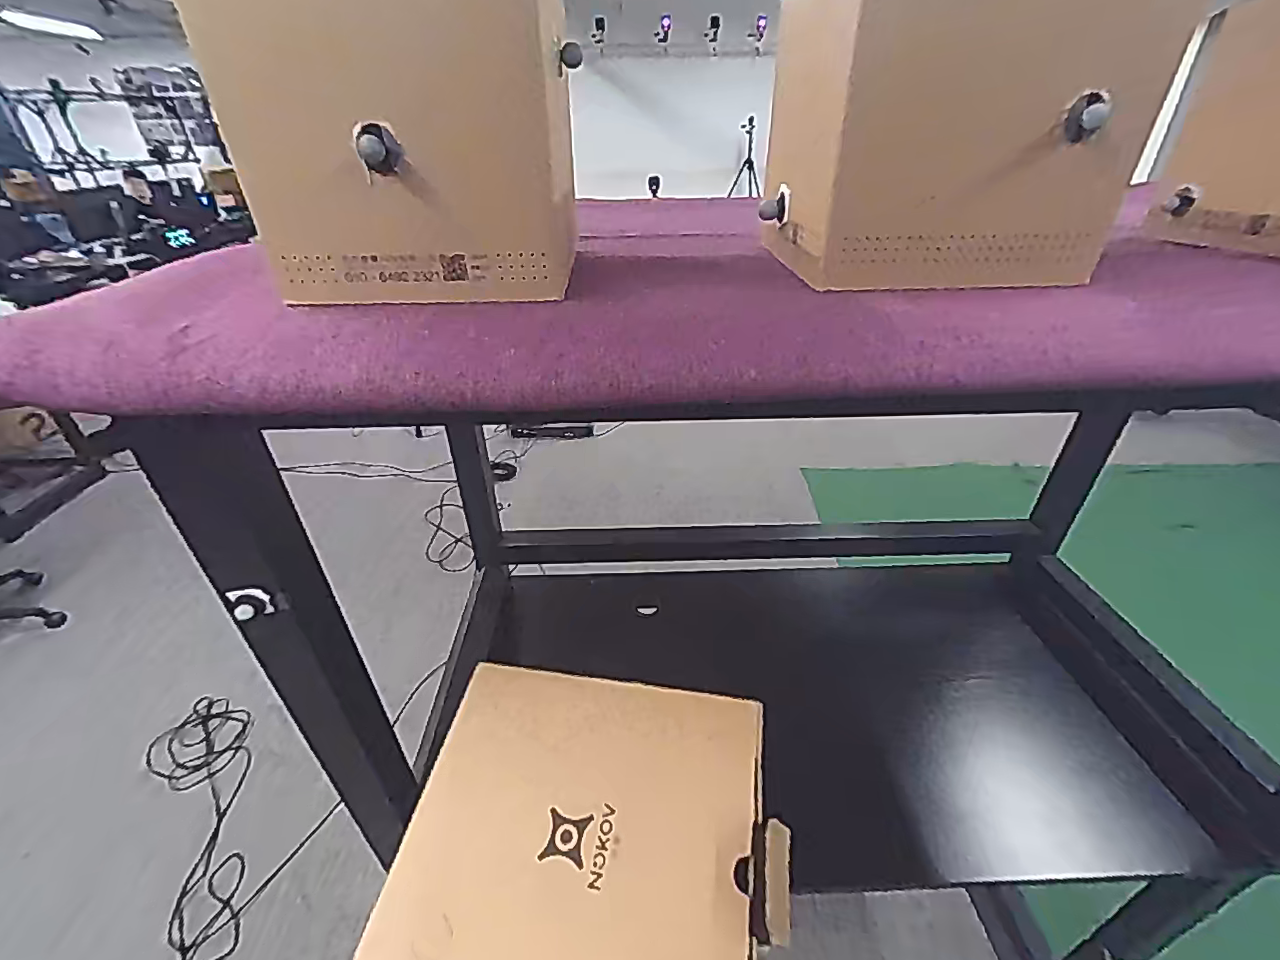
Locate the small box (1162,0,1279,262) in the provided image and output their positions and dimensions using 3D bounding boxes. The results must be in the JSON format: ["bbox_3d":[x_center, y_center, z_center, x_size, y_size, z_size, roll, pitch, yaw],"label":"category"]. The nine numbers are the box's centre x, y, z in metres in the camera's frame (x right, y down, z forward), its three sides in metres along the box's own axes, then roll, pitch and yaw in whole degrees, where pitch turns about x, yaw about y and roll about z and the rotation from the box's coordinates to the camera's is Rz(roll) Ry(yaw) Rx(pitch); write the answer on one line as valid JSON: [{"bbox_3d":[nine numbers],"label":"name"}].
[{"bbox_3d":[0.538,-0.251,0.385,0.179,0.176,0.168,-1,31,0],"label":"small box"}]

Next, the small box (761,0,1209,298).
[{"bbox_3d":[0.190,-0.227,0.361,0.179,0.176,0.168,-3,33,-1],"label":"small box"}]

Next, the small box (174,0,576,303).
[{"bbox_3d":[-0.131,-0.219,0.346,0.168,0.176,0.179,-1,34,-2],"label":"small box"}]
